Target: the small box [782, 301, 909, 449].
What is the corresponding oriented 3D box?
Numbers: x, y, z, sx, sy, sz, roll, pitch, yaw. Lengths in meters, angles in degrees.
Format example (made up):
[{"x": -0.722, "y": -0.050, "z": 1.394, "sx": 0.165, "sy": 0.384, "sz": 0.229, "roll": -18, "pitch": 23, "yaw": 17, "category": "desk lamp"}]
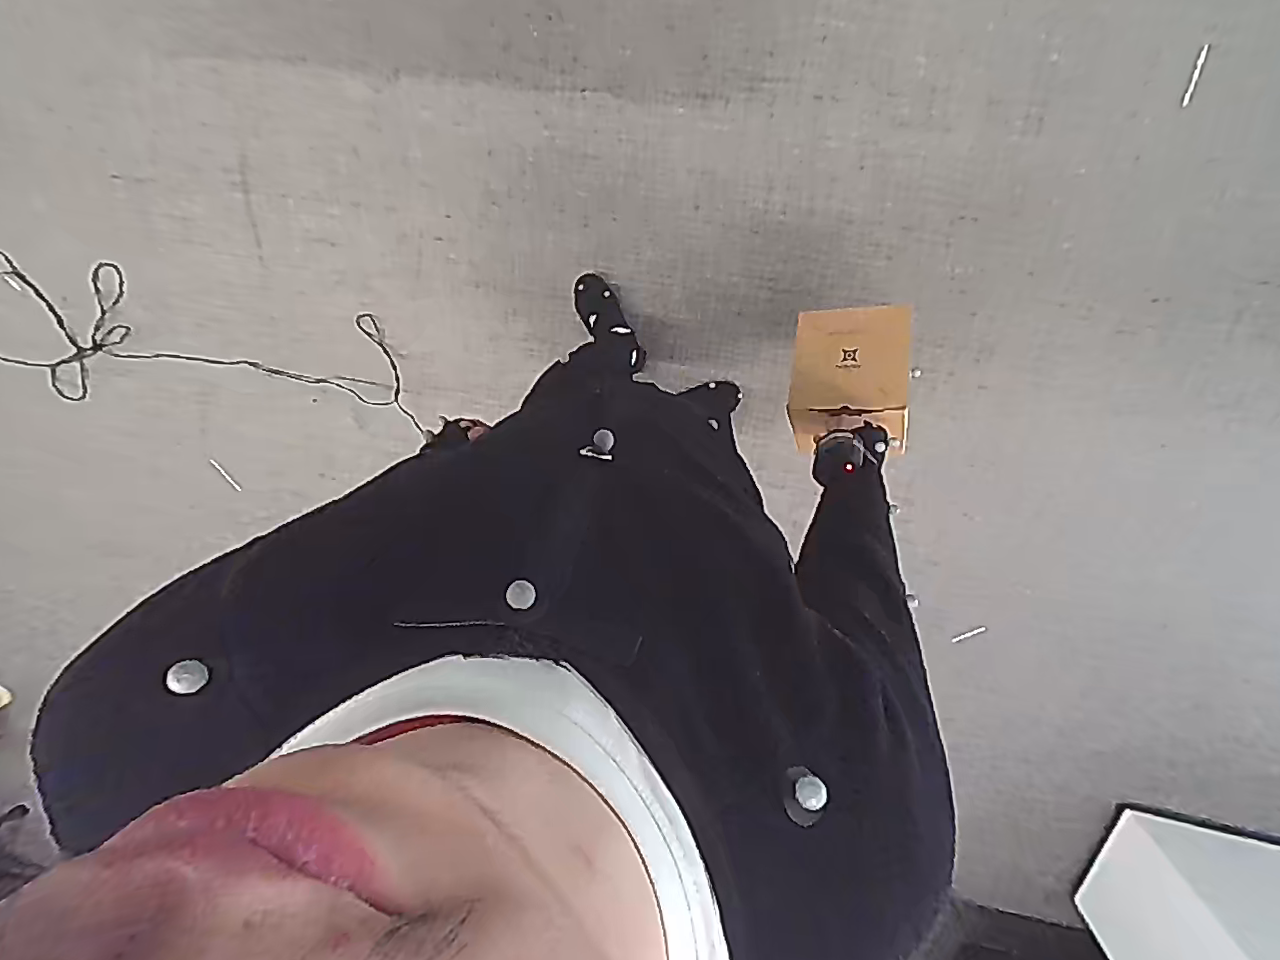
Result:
[{"x": 0.329, "y": -0.156, "z": 0.858, "sx": 0.168, "sy": 0.176, "sz": 0.179, "roll": 3, "pitch": 73, "yaw": 23, "category": "small box"}]
